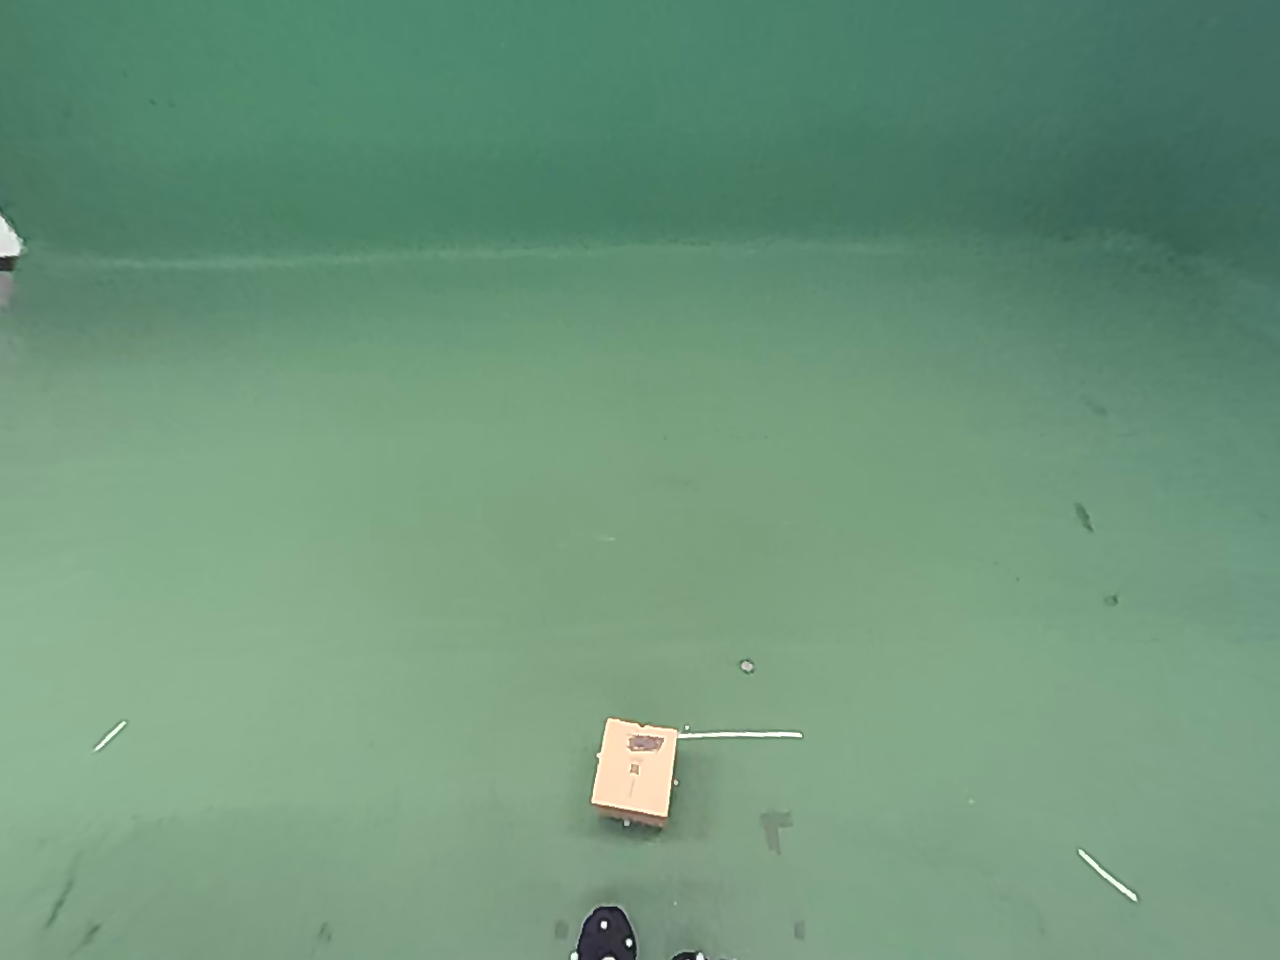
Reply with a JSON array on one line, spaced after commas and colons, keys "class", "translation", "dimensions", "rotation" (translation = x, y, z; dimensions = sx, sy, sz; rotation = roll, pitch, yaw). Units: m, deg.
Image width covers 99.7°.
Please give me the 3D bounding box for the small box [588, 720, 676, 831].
[{"class": "small box", "translation": [-0.015, 0.675, 1.231], "dimensions": [0.168, 0.176, 0.179], "rotation": [7, 51, 7]}]
